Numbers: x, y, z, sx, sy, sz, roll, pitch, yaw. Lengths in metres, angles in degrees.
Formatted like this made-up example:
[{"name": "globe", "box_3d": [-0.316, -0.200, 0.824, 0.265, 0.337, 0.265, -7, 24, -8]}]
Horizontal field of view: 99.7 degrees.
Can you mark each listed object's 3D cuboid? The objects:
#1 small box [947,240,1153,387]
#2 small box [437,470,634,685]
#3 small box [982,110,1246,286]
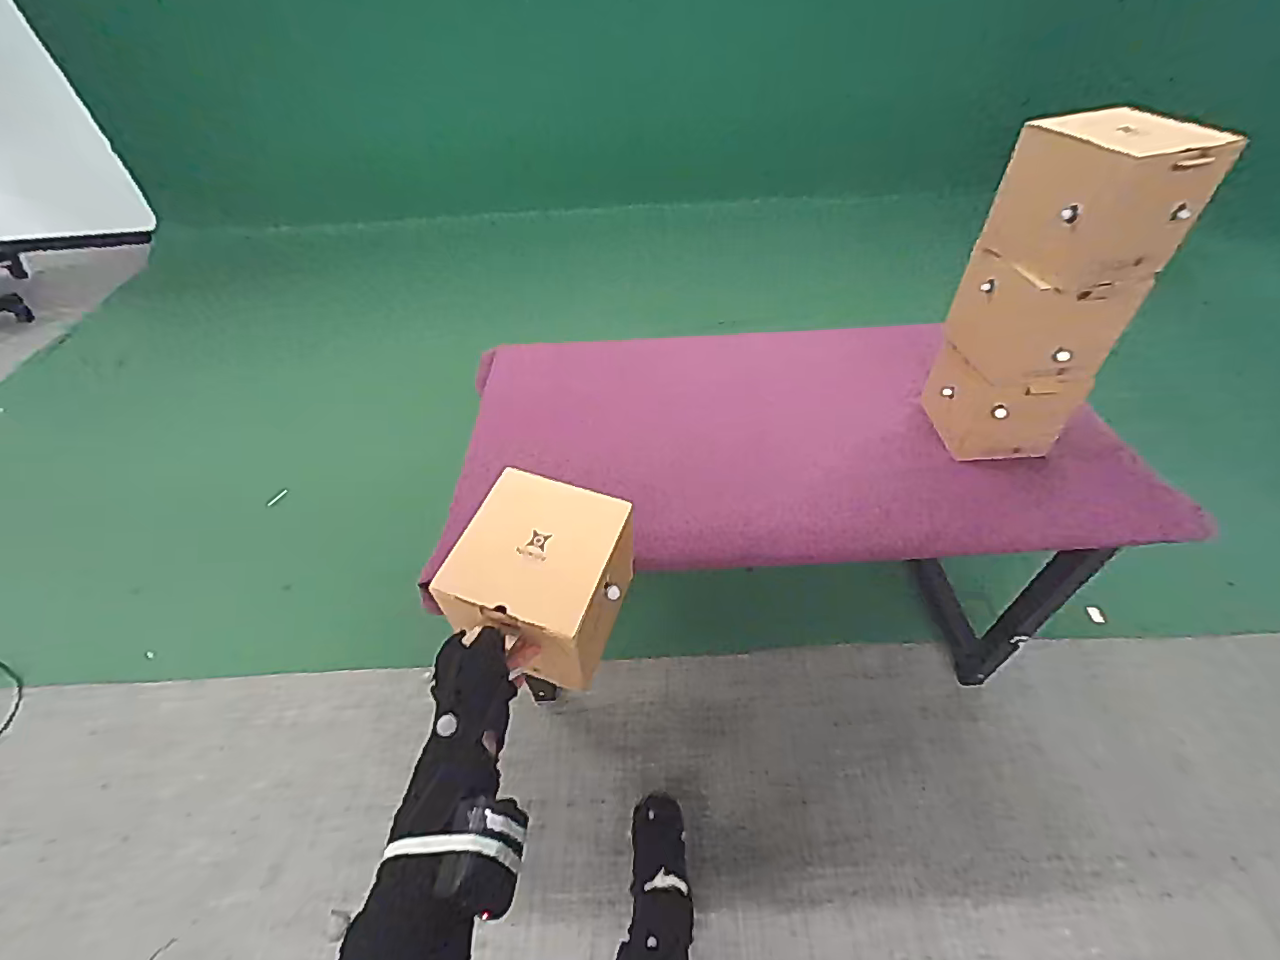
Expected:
[{"name": "small box", "box_3d": [0.629, -0.270, 0.863, 0.168, 0.176, 0.179, -6, 47, -1]}, {"name": "small box", "box_3d": [-0.113, 0.122, 0.662, 0.168, 0.176, 0.179, 16, 54, 10]}, {"name": "small box", "box_3d": [0.626, -0.382, 0.744, 0.168, 0.176, 0.179, -13, 47, -9]}]
